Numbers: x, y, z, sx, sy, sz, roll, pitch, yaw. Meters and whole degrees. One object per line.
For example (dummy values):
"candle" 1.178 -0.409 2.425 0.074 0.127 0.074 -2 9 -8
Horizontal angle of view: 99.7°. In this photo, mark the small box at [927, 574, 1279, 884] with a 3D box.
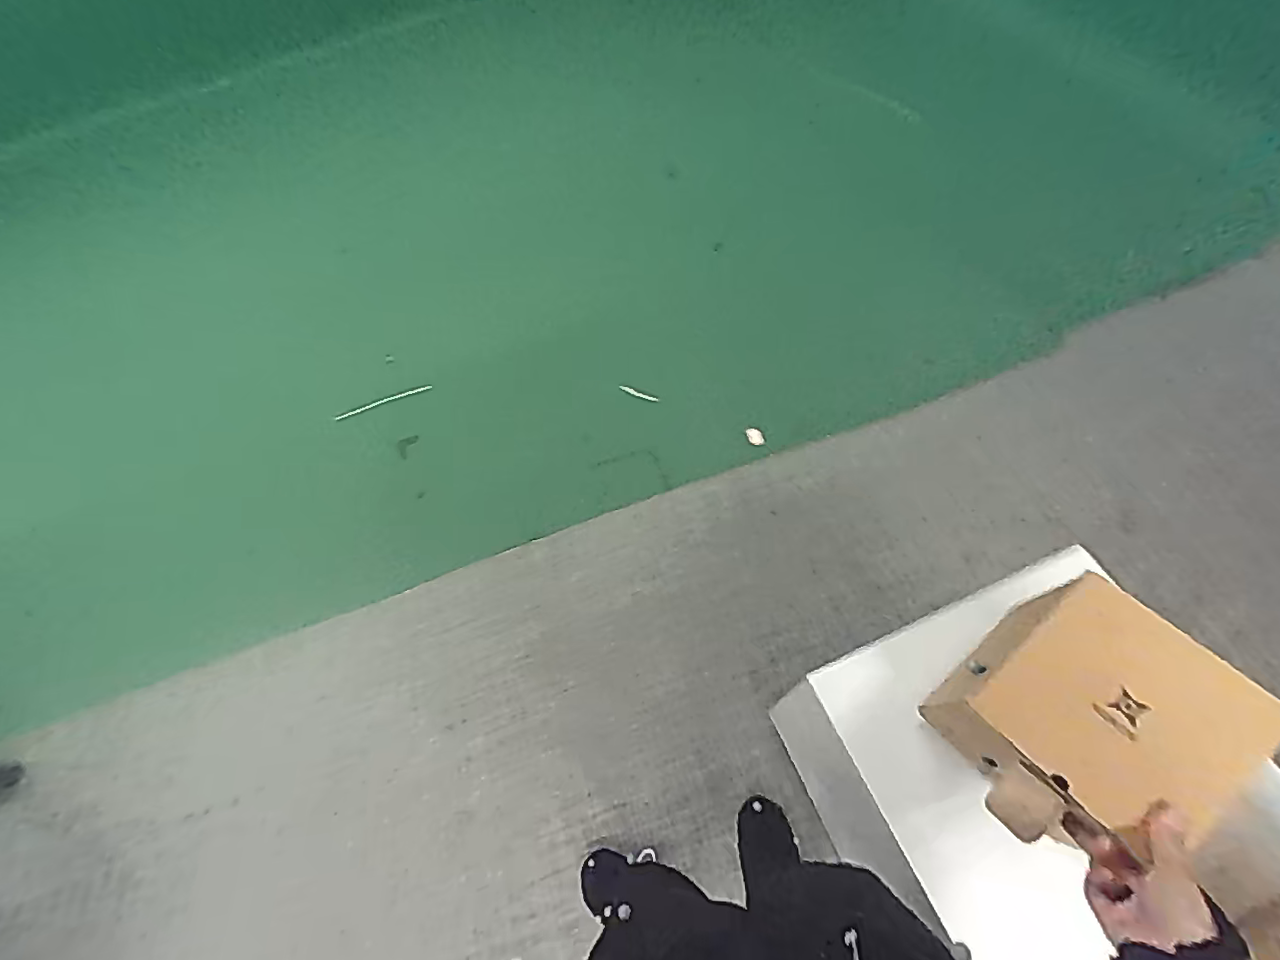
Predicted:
"small box" 0.409 0.222 0.512 0.179 0.176 0.168 -42 64 -7
